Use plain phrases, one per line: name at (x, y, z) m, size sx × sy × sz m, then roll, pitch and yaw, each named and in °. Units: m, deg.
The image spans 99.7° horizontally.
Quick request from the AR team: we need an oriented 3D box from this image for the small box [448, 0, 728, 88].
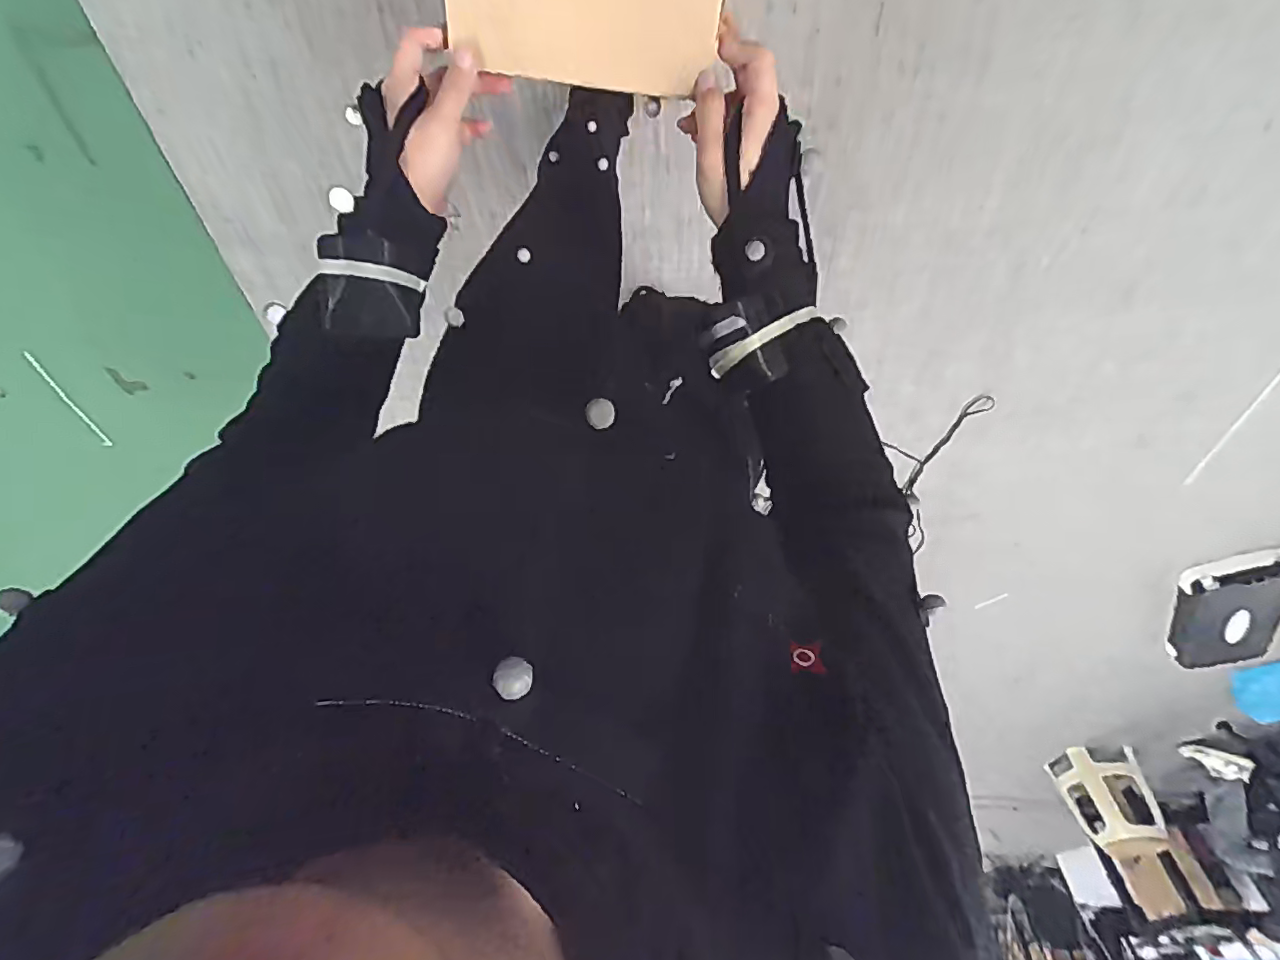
small box at (-0.024, -0.380, 0.368) m, size 0.179 × 0.176 × 0.168 m, roll 6°, pitch 129°, yaw -1°
